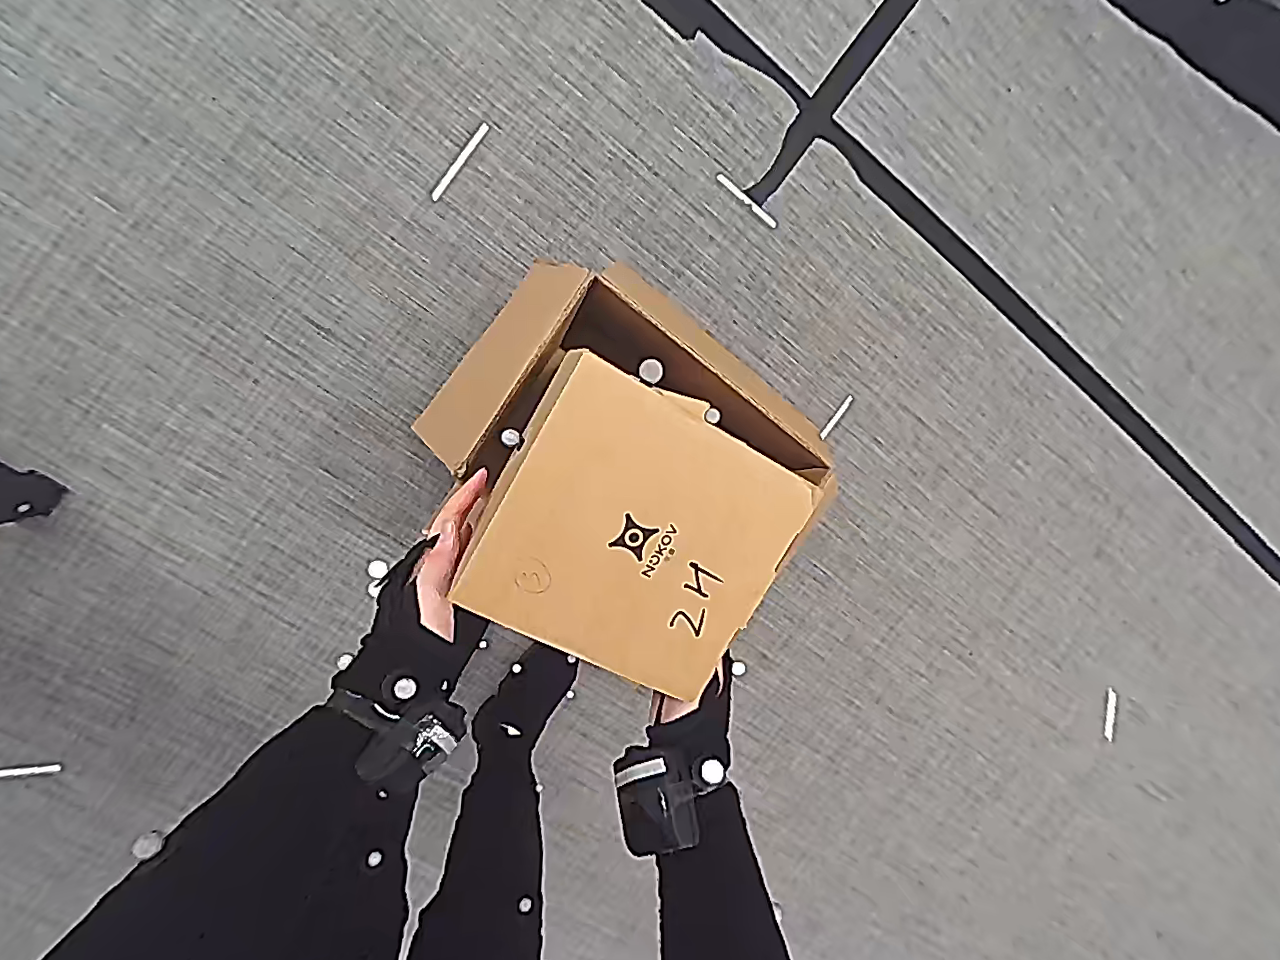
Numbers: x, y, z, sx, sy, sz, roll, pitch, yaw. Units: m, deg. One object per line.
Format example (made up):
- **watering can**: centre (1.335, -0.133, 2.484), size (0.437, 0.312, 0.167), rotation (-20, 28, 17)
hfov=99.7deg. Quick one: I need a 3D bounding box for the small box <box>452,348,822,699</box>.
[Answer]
- **small box**: centre (-0.011, 0.019, 0.404), size (0.179, 0.176, 0.168), rotation (29, 97, -15)
